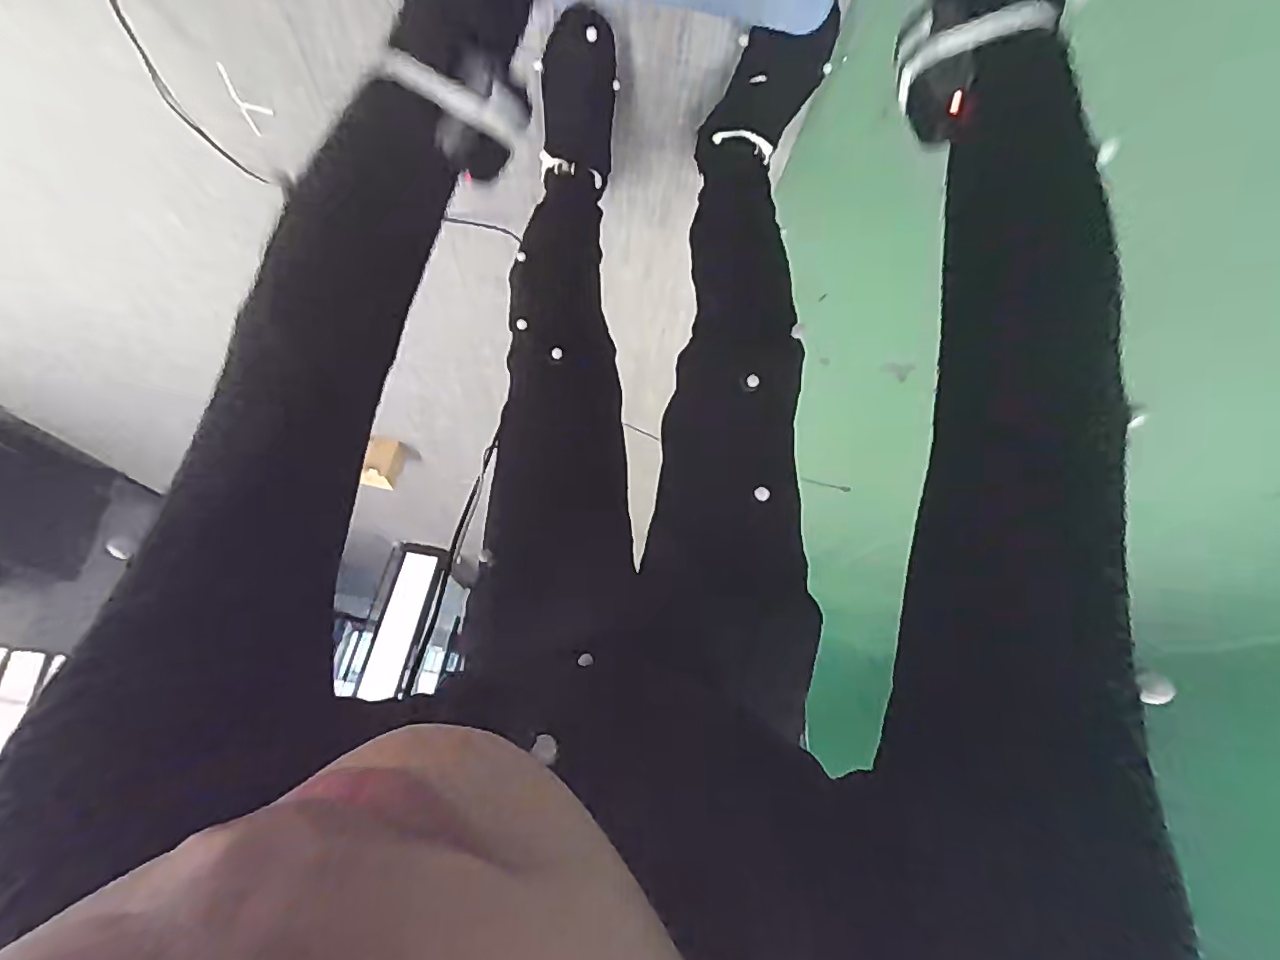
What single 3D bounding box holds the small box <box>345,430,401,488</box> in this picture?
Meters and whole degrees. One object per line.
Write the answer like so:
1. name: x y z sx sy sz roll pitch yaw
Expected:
1. small box: -1.126 -0.088 2.295 0.168 0.176 0.179 14 155 -14
